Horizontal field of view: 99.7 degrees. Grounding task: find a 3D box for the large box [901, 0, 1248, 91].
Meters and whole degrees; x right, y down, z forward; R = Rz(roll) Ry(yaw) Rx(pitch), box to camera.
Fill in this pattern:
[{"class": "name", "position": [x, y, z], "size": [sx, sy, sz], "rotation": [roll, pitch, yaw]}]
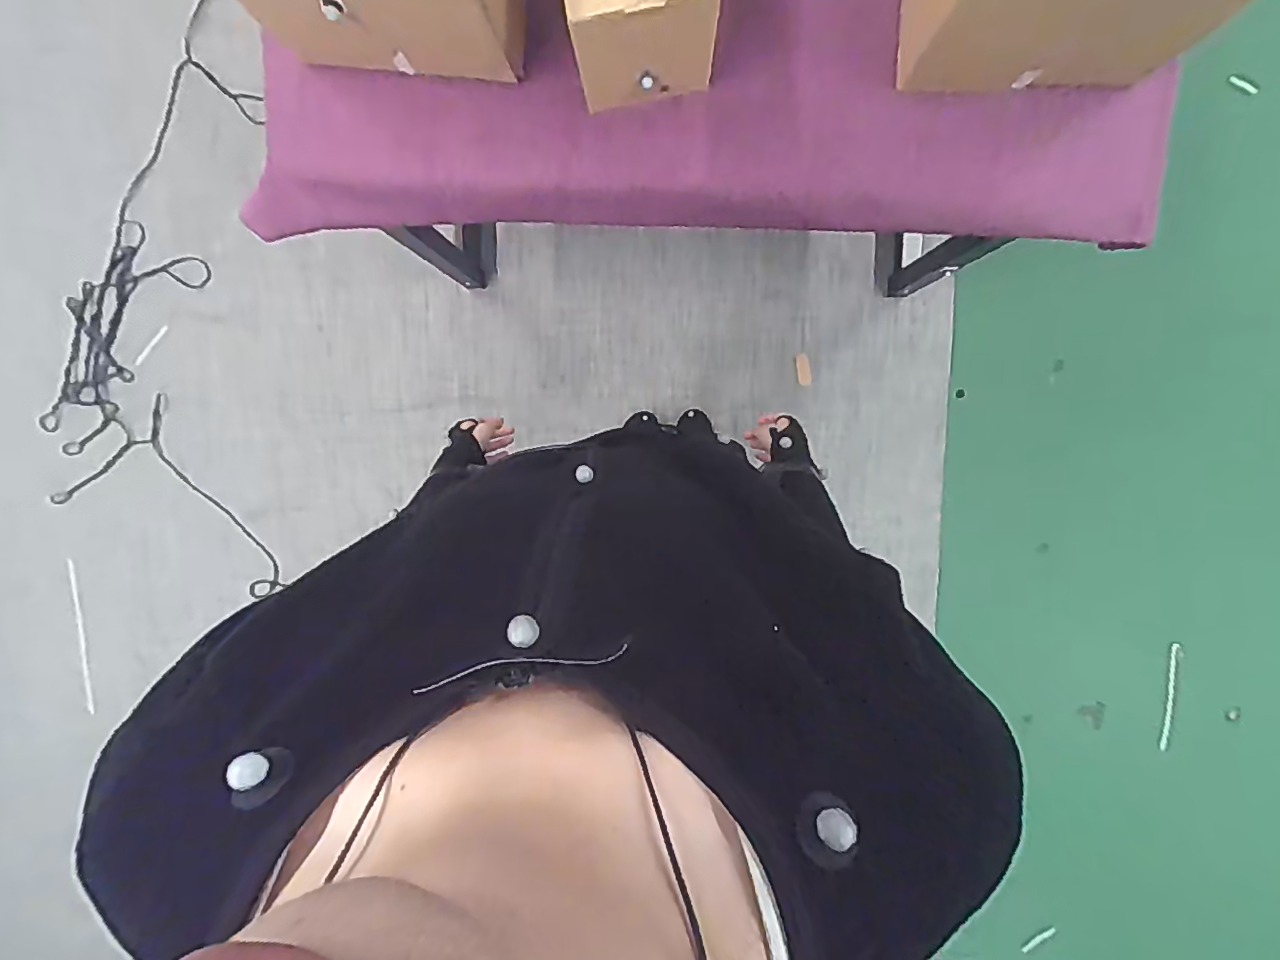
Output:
[{"class": "large box", "position": [0.485, -0.696, 0.541], "size": [0.320, 0.320, 0.408], "rotation": [1, 97, 4]}]
